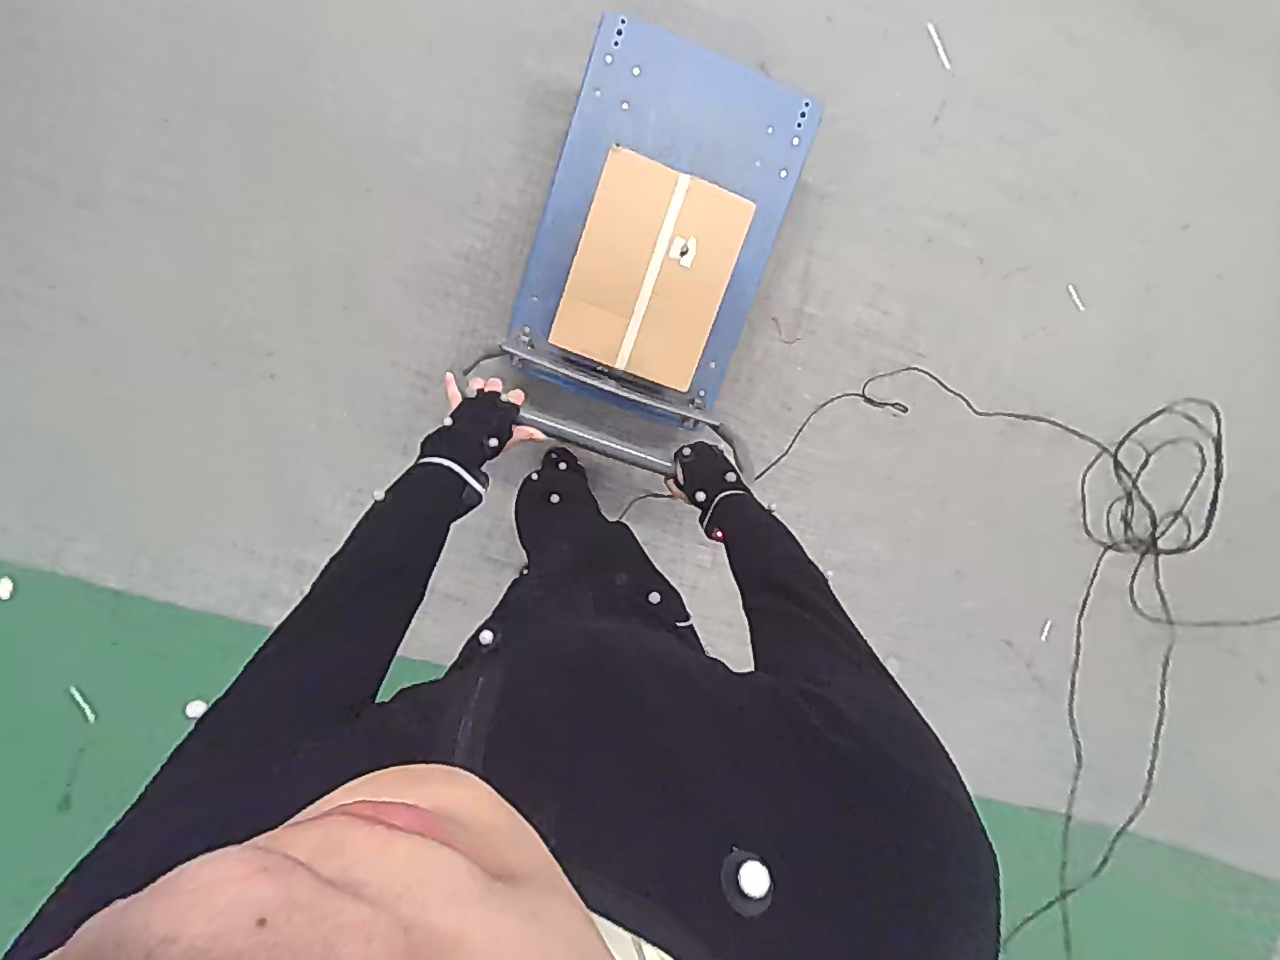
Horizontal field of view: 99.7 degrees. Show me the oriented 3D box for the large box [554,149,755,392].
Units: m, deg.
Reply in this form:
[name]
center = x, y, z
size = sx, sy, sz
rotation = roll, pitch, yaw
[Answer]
[large box]
center = 0.019, -0.442, 1.247
size = 0.320, 0.320, 0.408
rotation = 19, 99, -7
